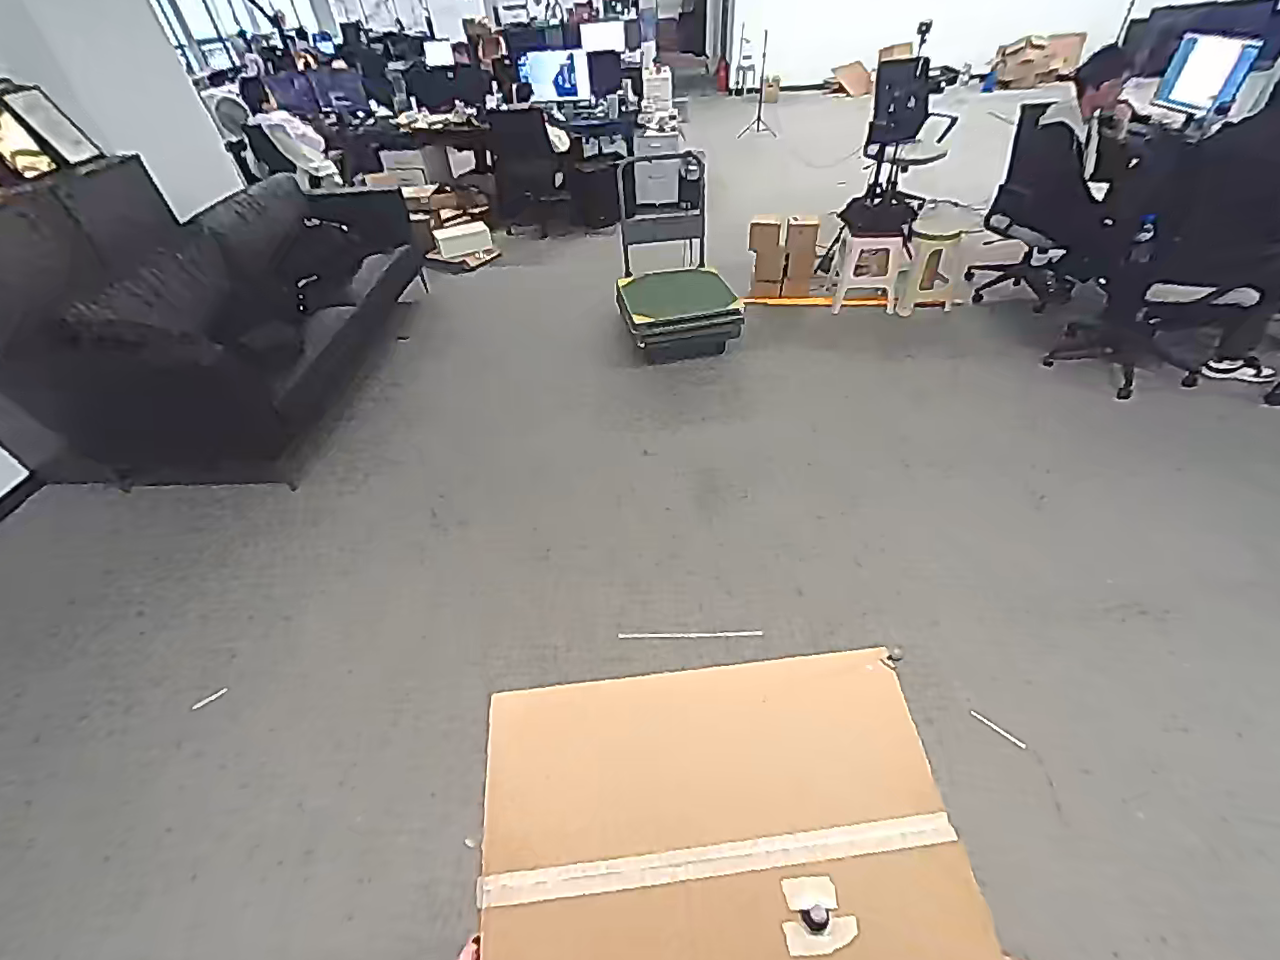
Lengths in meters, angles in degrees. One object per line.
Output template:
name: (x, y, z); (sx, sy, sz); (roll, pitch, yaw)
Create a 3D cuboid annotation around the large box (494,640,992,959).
large box: (0.071, 0.402, 0.600); (0.408, 0.320, 0.320); (-6, 56, -3)
